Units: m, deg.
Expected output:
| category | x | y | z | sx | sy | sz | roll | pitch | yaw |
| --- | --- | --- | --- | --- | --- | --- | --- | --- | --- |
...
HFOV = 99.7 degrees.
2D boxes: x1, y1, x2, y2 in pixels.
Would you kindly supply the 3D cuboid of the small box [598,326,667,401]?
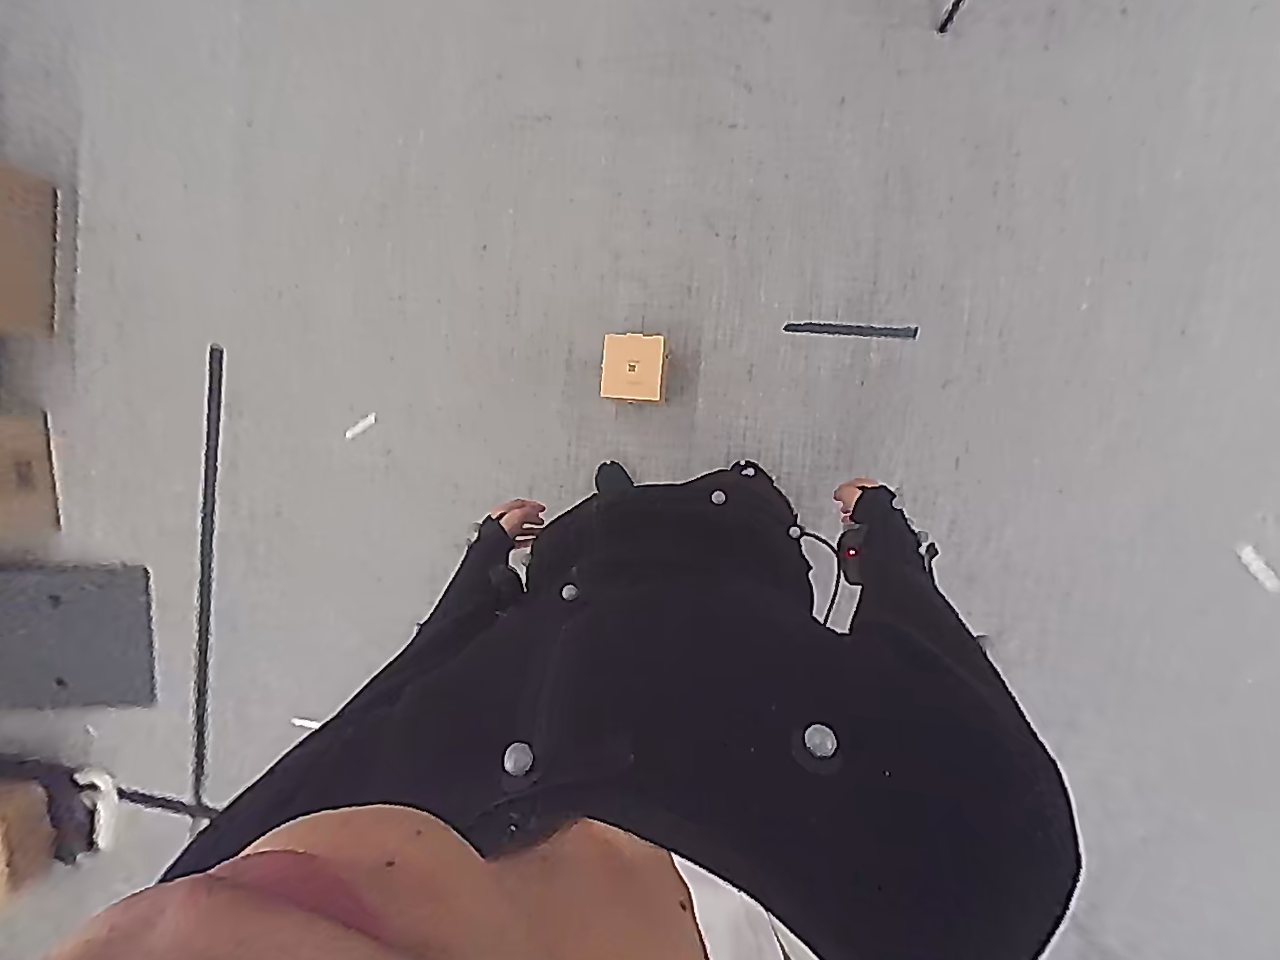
| category | x | y | z | sx | sy | sz | roll | pitch | yaw |
| --- | --- | --- | --- | --- | --- | --- | --- | --- | --- |
| small box | -0.016 | -0.325 | 1.534 | 0.168 | 0.176 | 0.179 | 6 | 94 | 7 |
